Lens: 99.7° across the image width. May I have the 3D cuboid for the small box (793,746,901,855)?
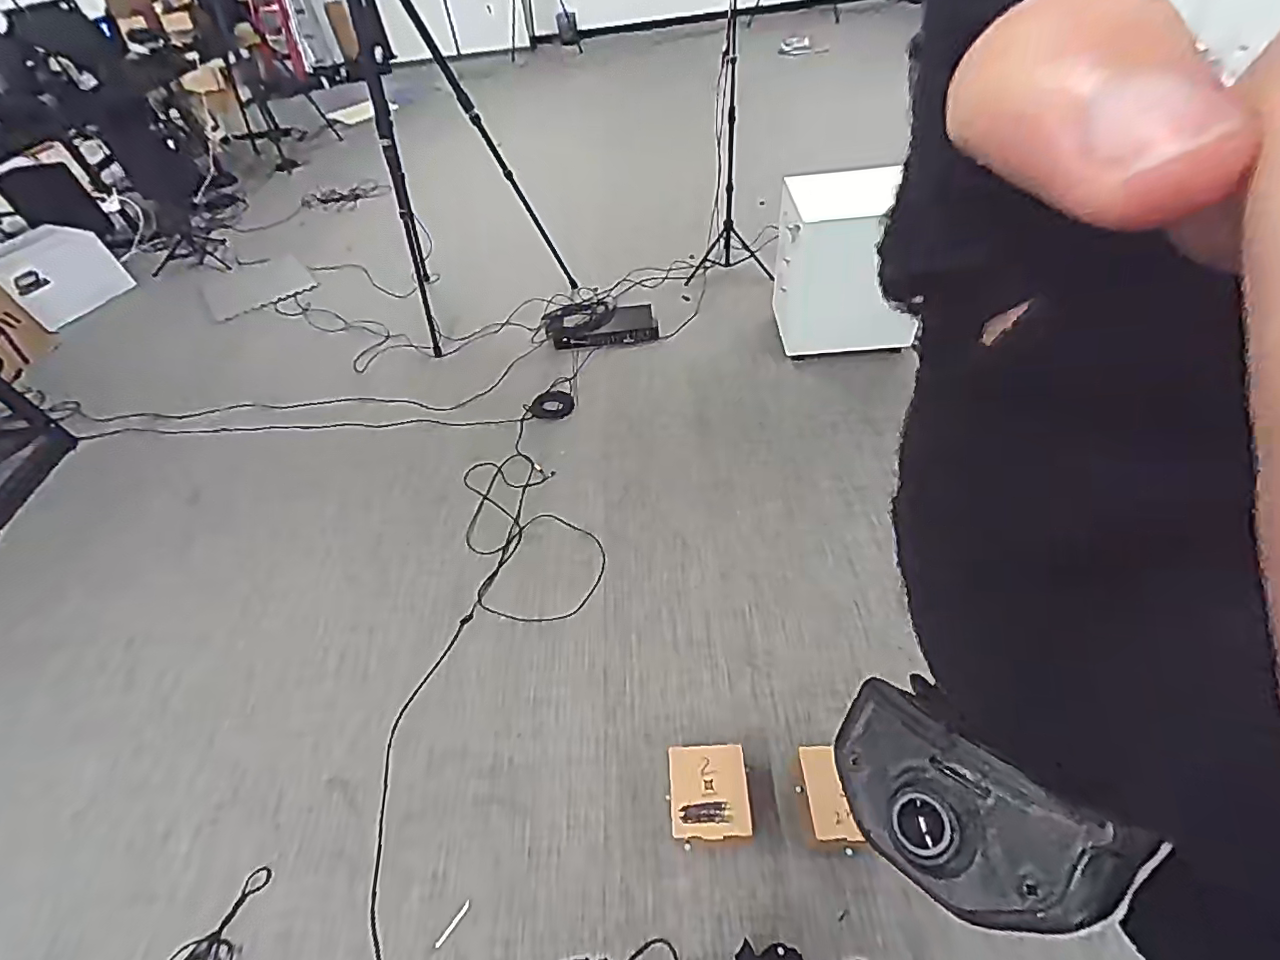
[{"bbox_3d":[0.439,0.701,1.181,0.168,0.176,0.179,-5,49,4],"label":"small box"}]

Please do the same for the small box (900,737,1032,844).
[{"bbox_3d":[0.693,0.678,1.173,0.168,0.176,0.179,-5,48,2],"label":"small box"}]

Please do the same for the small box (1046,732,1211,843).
[{"bbox_3d":[1.018,0.655,1.151,0.168,0.176,0.179,-2,50,5],"label":"small box"}]
